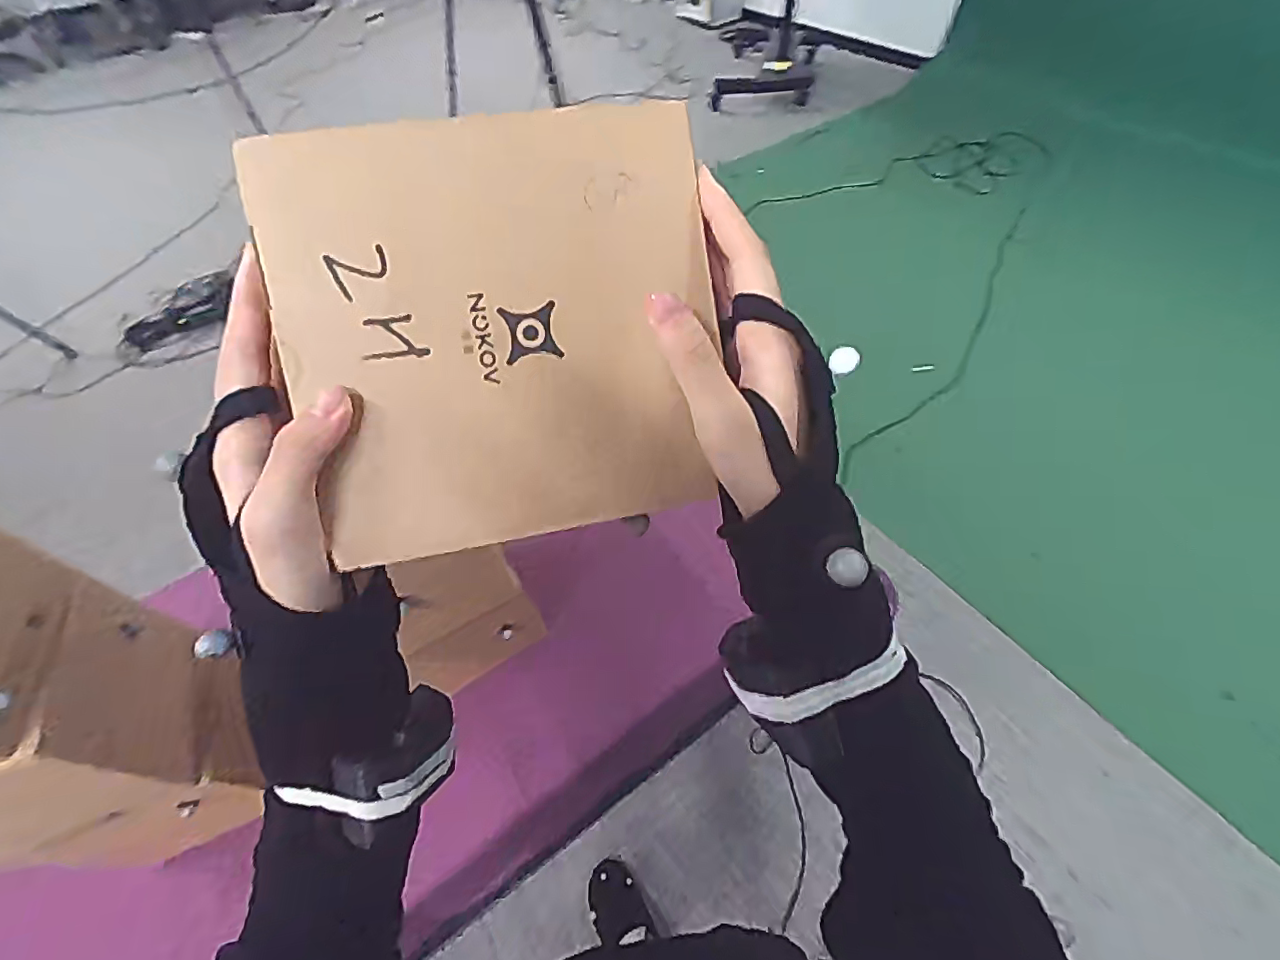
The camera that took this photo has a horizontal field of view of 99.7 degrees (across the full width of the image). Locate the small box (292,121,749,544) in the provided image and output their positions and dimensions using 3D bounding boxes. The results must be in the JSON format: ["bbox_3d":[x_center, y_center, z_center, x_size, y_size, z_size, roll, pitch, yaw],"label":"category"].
[{"bbox_3d":[-0.055,-0.072,0.314,0.179,0.176,0.168,-10,95,-7],"label":"small box"}]

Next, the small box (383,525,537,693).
[{"bbox_3d":[-0.254,0.155,0.735,0.179,0.176,0.168,-30,57,-17],"label":"small box"}]

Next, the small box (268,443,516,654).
[{"bbox_3d":[-0.263,0.063,0.599,0.179,0.176,0.168,-28,57,-16],"label":"small box"}]

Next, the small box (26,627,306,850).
[{"bbox_3d":[-0.534,0.310,0.640,0.179,0.176,0.168,-22,55,-12],"label":"small box"}]
